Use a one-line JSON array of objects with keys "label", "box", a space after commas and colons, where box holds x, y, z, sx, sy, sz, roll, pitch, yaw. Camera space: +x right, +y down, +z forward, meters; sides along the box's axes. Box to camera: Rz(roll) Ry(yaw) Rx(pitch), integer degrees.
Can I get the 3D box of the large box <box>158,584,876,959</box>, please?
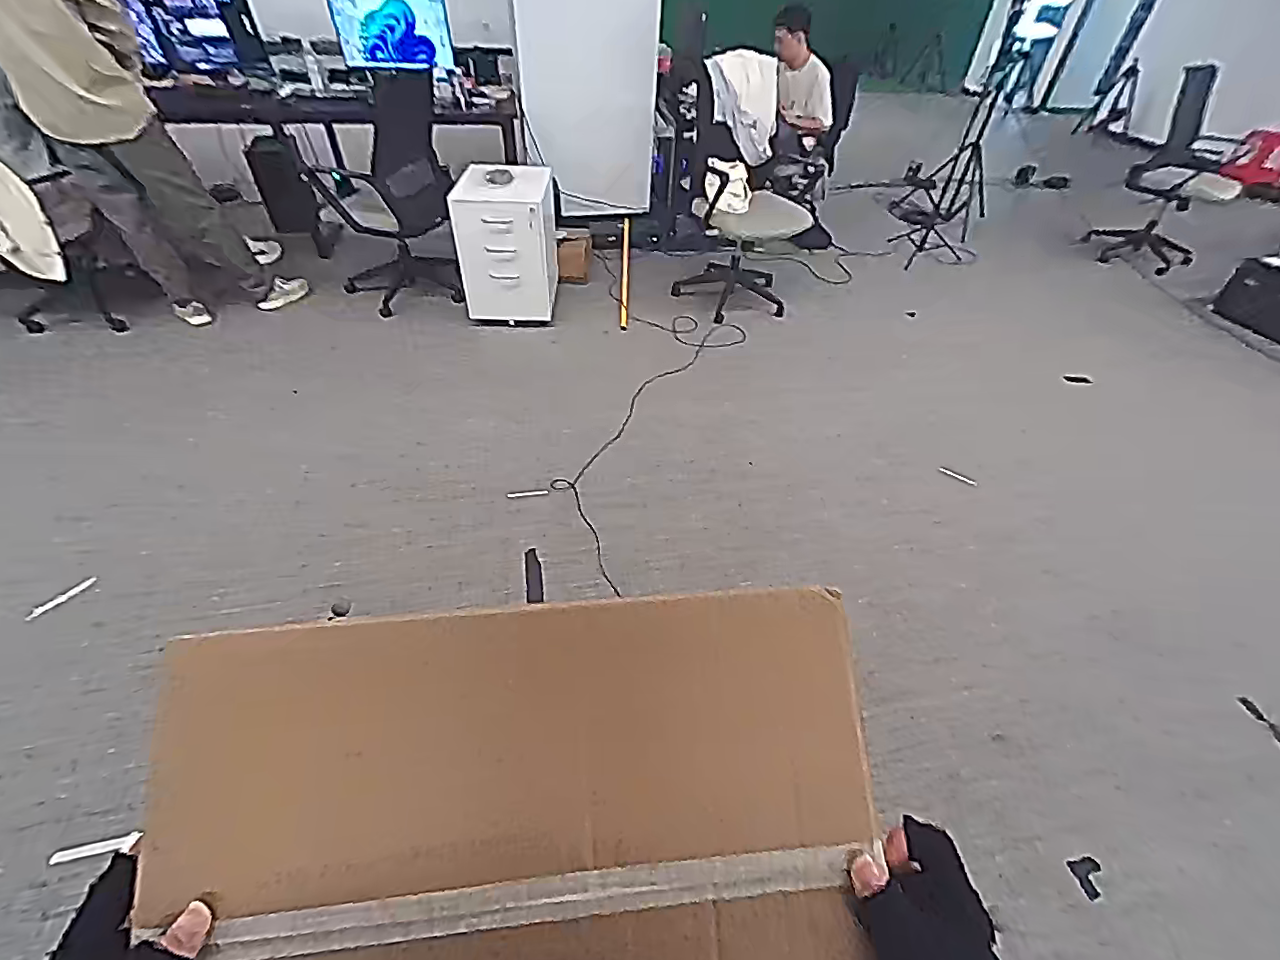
[{"label": "large box", "box": [-0.074, 0.266, 0.456, 0.408, 0.320, 0.320, -4, 78, -4]}]
